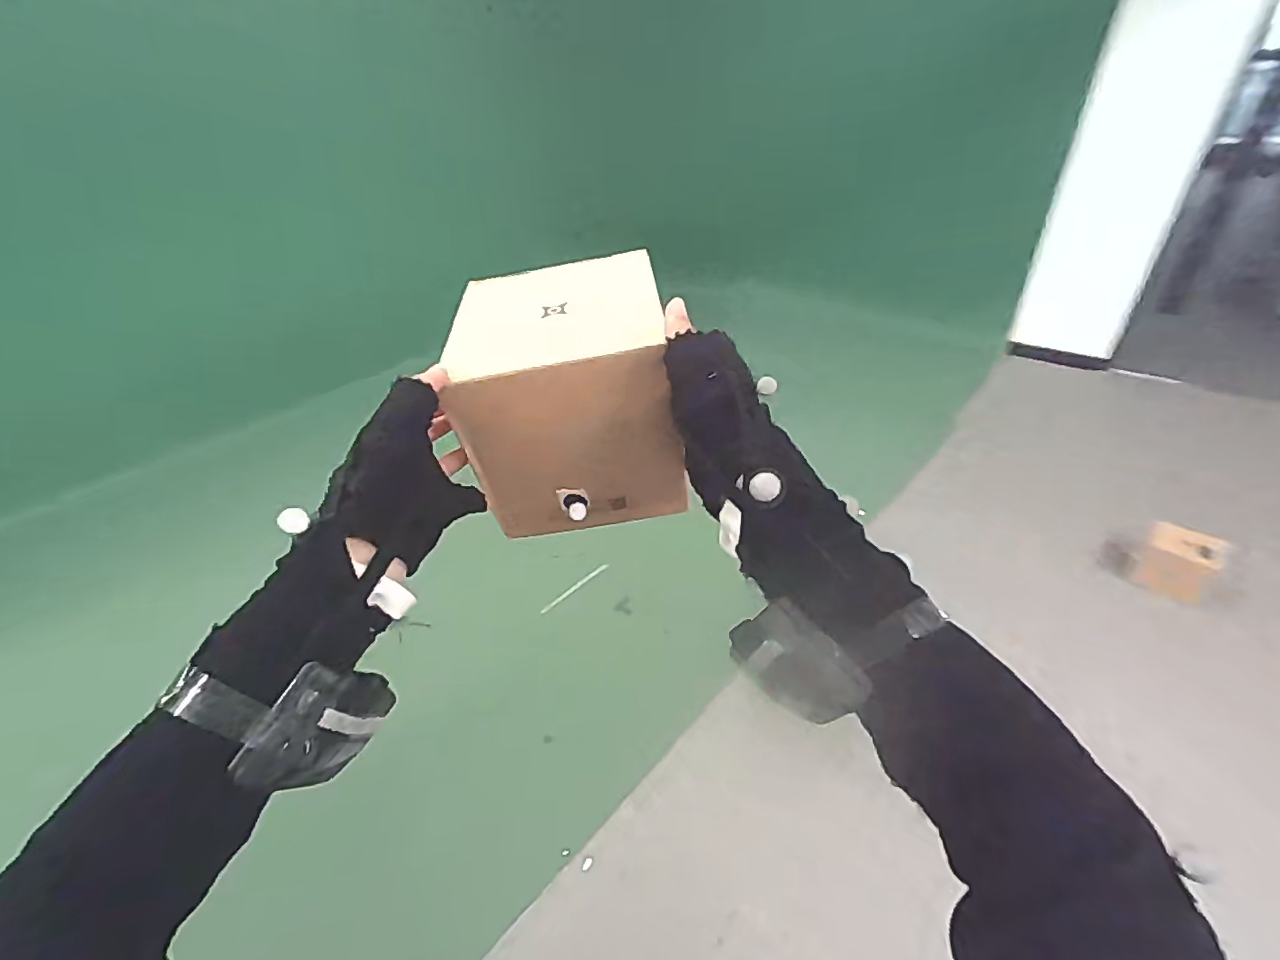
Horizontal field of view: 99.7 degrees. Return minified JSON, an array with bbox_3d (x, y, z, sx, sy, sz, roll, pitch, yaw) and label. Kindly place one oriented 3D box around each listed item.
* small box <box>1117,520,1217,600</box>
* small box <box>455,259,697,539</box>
[{"bbox_3d":[1.730,0.268,1.780,0.168,0.176,0.179,-33,43,-32],"label":"small box"},{"bbox_3d":[-0.046,-0.073,0.491,0.168,0.176,0.179,-10,44,2],"label":"small box"}]
